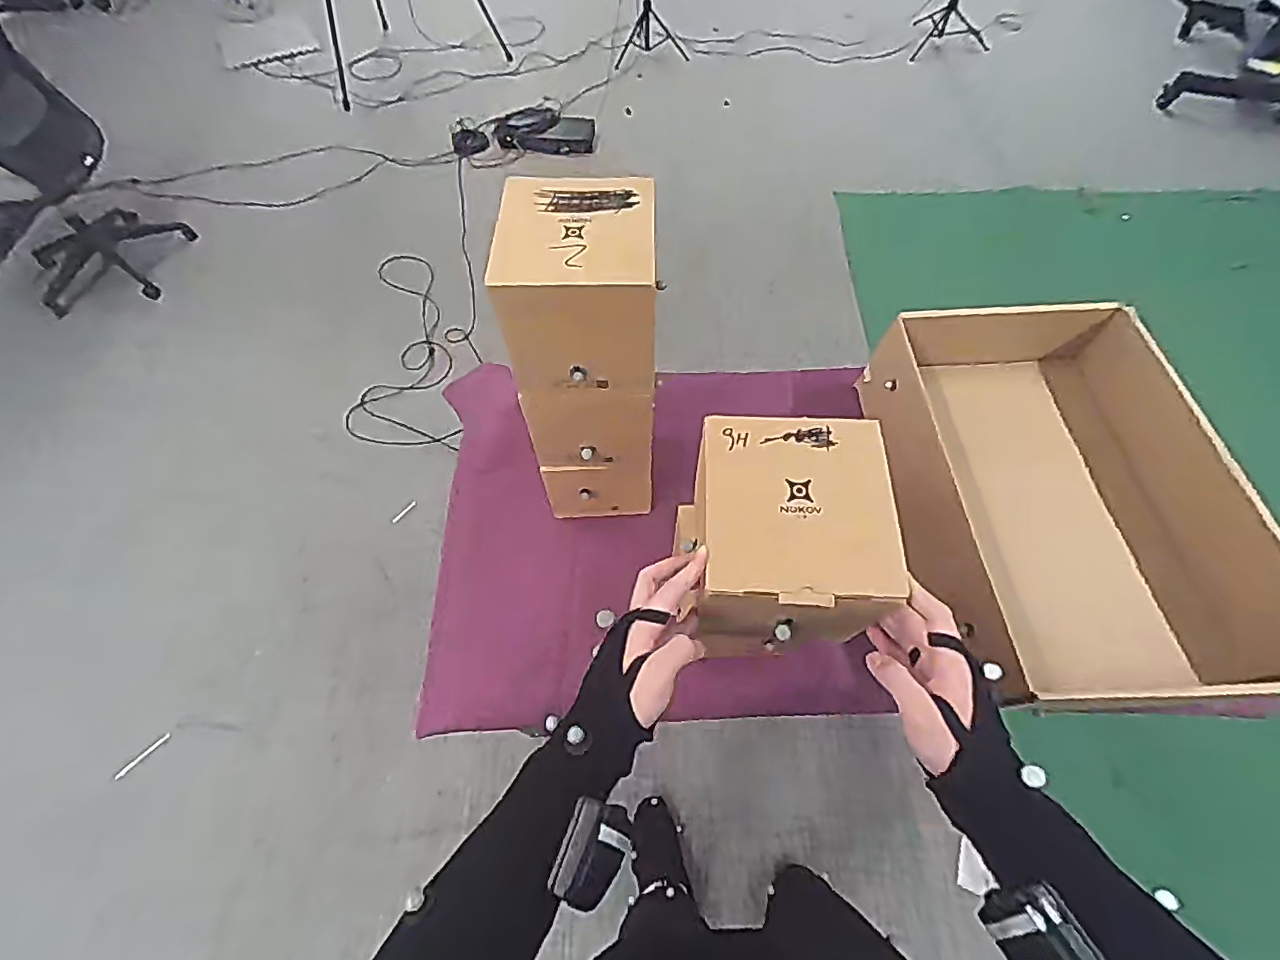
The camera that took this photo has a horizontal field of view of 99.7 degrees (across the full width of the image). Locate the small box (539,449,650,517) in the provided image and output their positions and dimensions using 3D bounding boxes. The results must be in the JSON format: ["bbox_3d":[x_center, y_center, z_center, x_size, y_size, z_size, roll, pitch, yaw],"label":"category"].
[{"bbox_3d":[-0.070,-0.046,0.909,0.168,0.176,0.179,-3,59,-1],"label":"small box"}]

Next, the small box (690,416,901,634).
[{"bbox_3d":[0.139,0.054,0.549,0.168,0.176,0.179,2,64,3],"label":"small box"}]

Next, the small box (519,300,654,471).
[{"bbox_3d":[-0.065,-0.131,0.769,0.168,0.176,0.179,1,60,2],"label":"small box"}]

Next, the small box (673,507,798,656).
[{"bbox_3d":[0.137,0.153,0.788,0.168,0.176,0.179,-1,58,-1],"label":"small box"}]
